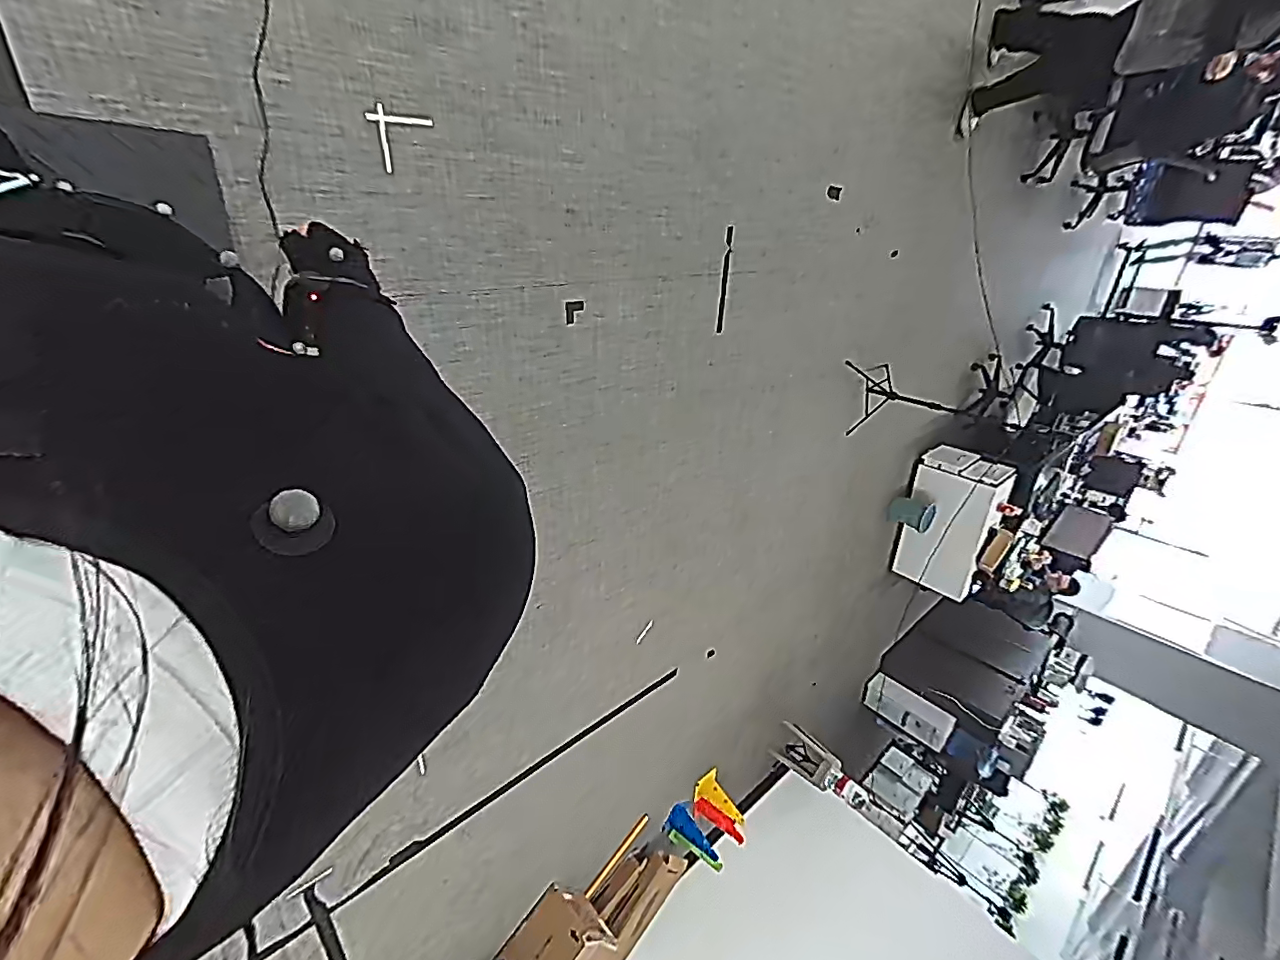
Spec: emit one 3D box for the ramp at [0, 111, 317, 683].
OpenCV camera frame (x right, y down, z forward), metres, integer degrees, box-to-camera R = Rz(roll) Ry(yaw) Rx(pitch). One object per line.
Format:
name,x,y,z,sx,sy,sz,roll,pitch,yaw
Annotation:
ramp,-1.012,-0.140,1.046,0.509,0.206,0.991,-18,121,-37
